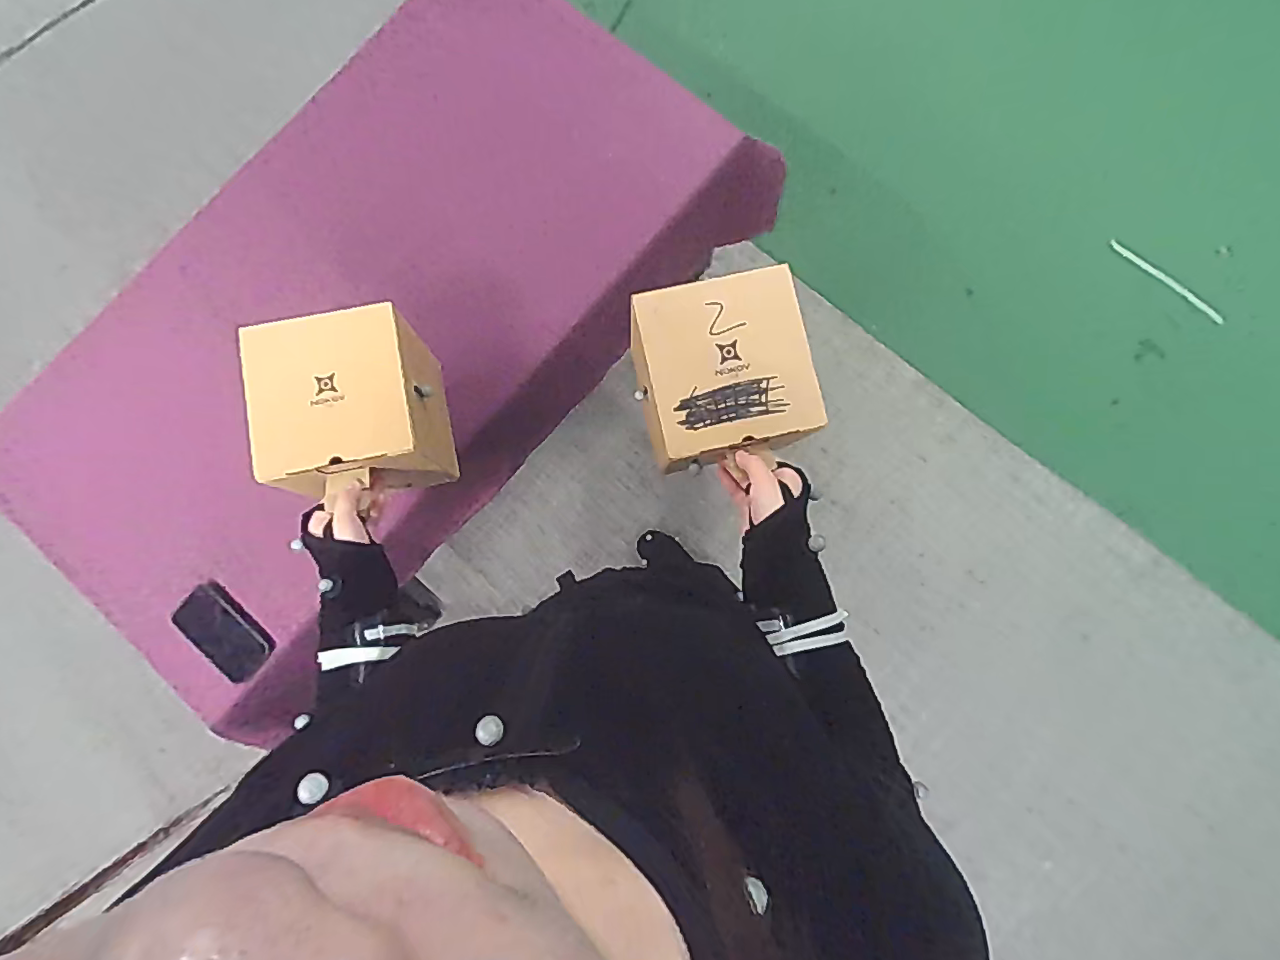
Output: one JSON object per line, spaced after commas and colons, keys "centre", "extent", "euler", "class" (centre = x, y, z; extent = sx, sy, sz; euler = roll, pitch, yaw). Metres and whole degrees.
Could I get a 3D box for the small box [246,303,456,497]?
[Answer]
{"centre": [-0.334, -0.086, 0.654], "extent": [0.168, 0.176, 0.179], "euler": [-10, 82, -6], "class": "small box"}
